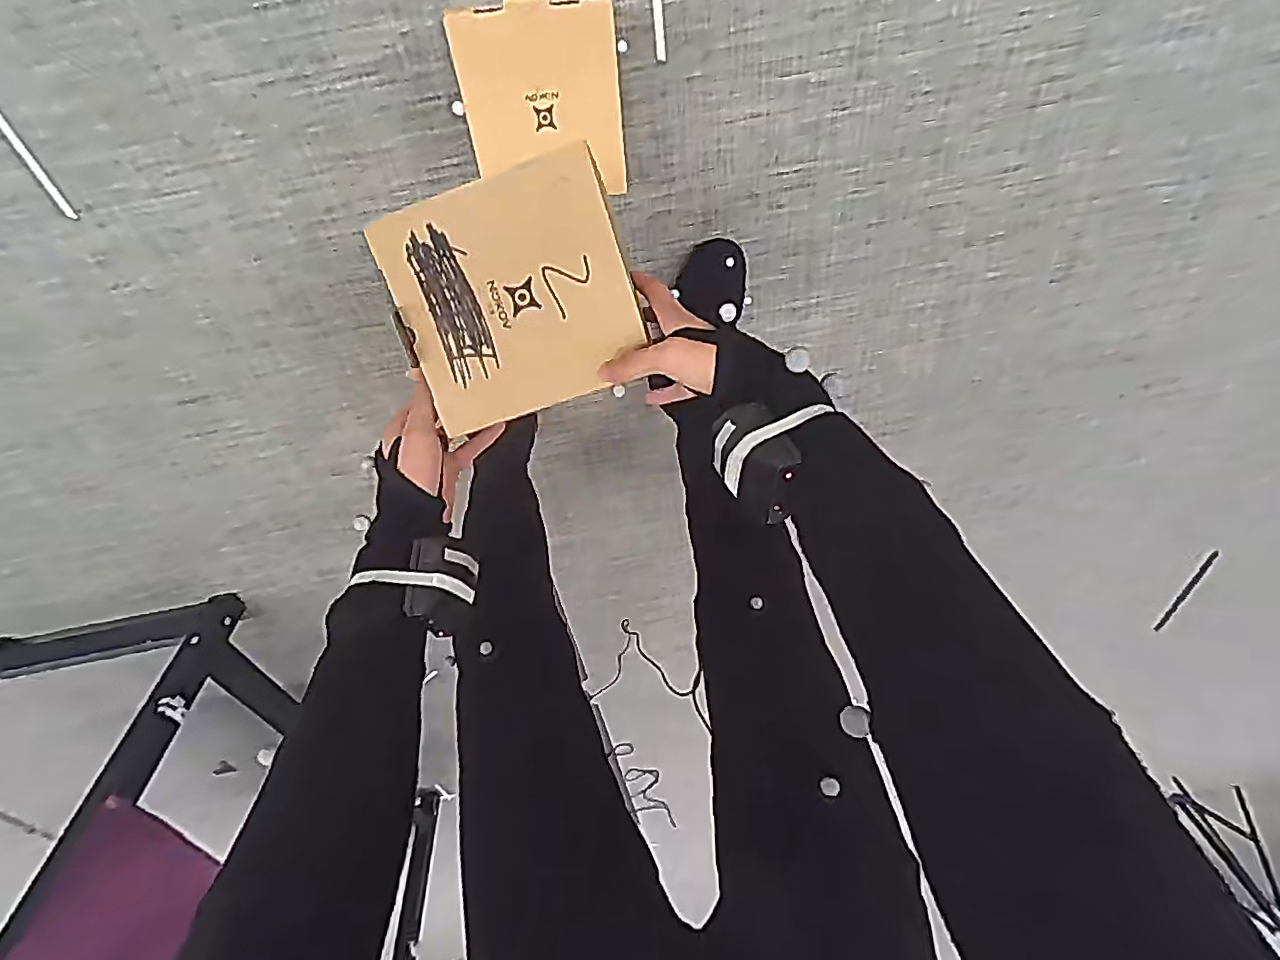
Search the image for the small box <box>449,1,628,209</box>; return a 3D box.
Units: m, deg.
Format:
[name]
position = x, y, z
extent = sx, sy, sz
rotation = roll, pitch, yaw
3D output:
[small box]
position = -0.106, -0.440, 0.636
extent = 0.168, 0.176, 0.179
rotation = -7, 129, -2
